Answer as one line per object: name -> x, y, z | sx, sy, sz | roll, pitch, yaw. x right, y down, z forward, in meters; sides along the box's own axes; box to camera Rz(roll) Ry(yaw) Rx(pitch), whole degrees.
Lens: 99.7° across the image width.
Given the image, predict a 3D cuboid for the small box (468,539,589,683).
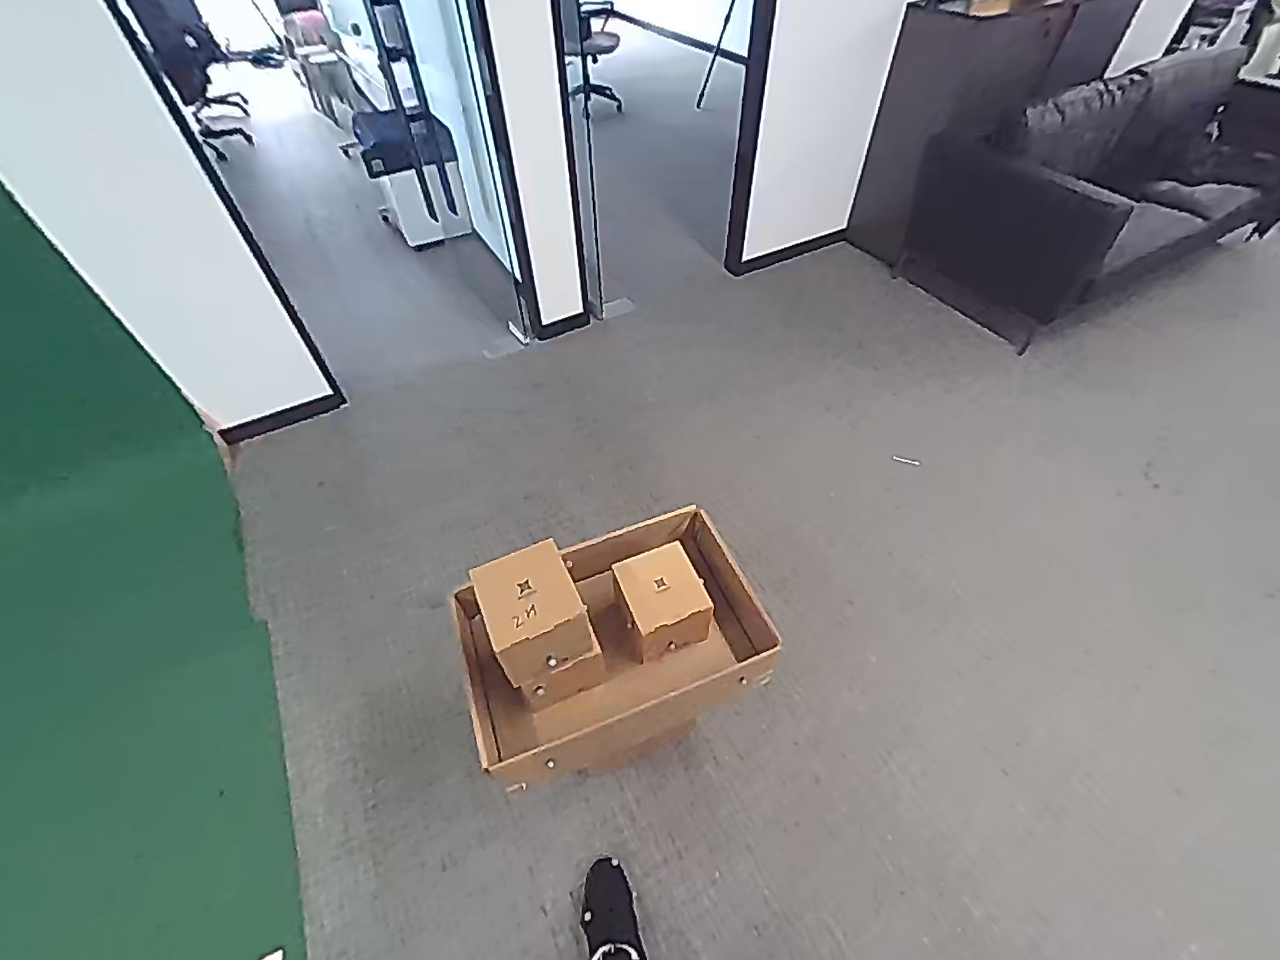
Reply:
small box -> -0.204, 0.246, 1.012 | 0.168, 0.176, 0.179 | -21, 54, -16
